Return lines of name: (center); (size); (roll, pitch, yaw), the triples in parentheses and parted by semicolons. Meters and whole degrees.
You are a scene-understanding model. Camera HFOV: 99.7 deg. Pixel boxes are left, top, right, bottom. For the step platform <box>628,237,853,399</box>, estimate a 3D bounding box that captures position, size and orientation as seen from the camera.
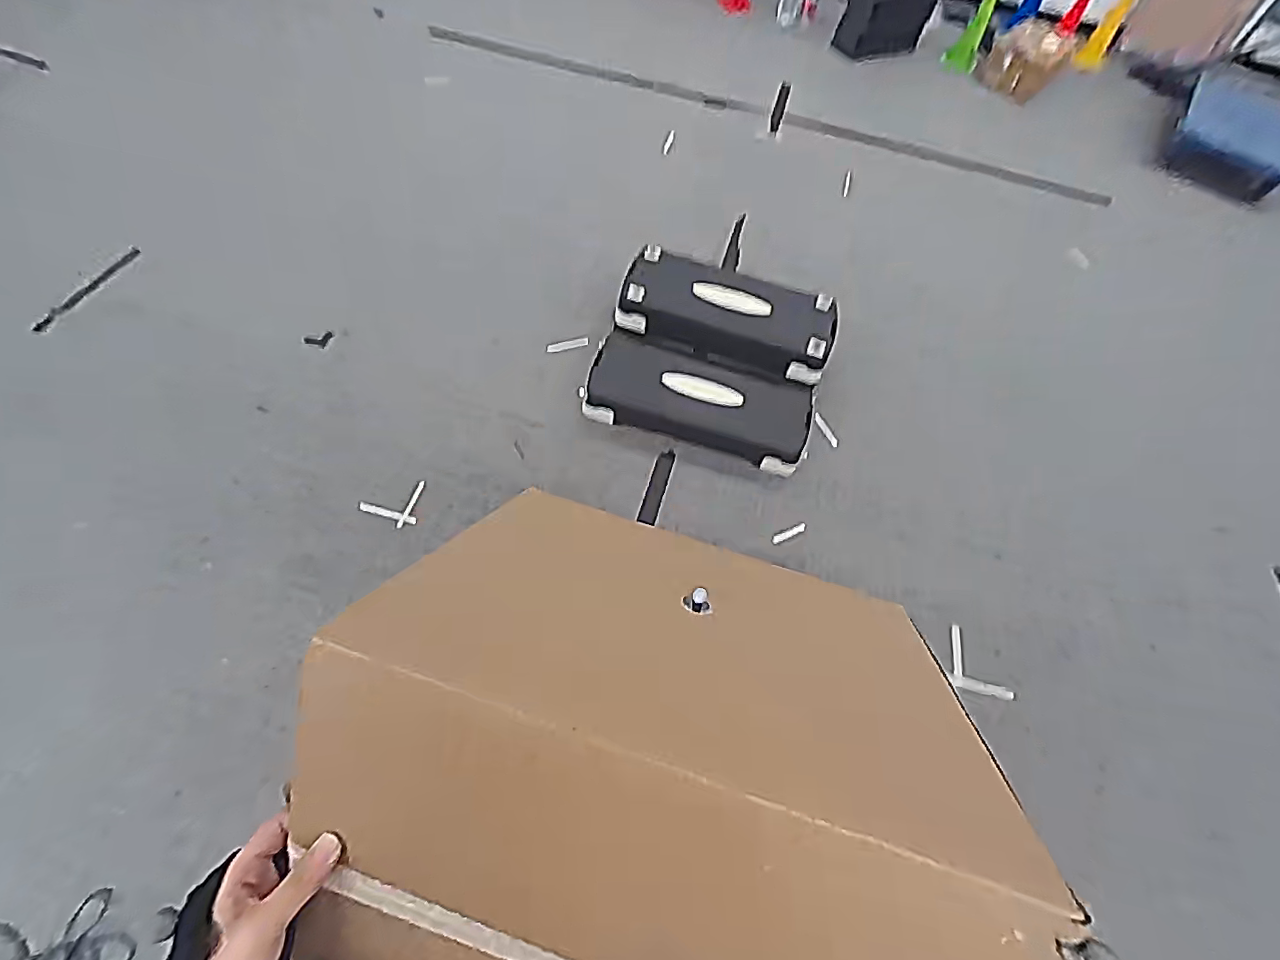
step platform: (0.313, -0.520, 1.719); (0.684, 0.204, 0.286); (23, 61, 5)
